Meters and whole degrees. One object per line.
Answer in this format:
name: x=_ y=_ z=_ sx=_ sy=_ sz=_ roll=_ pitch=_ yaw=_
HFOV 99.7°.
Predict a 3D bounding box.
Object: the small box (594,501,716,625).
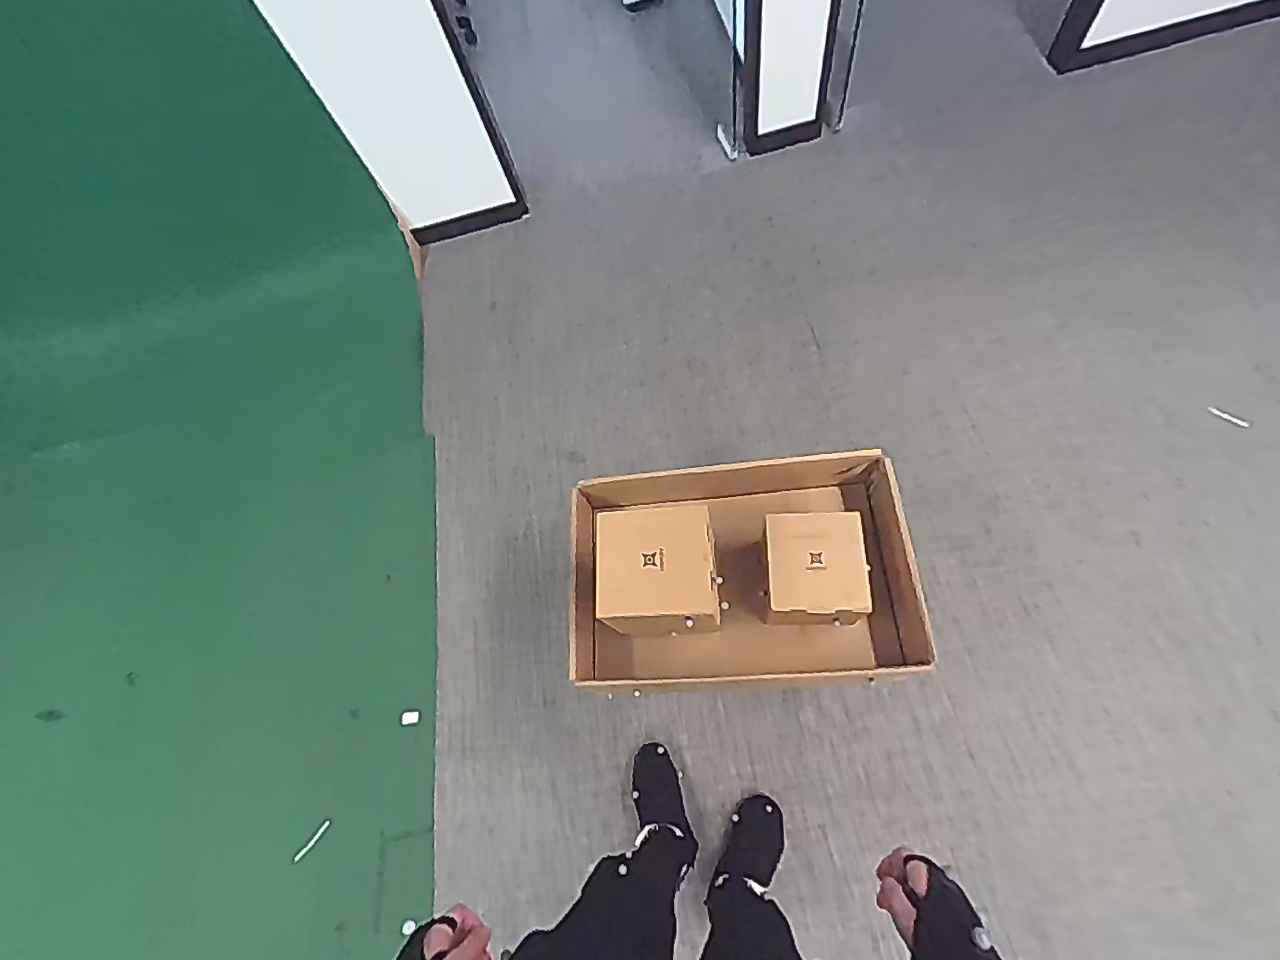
small box: x=0.030 y=0.144 z=0.892 sx=0.179 sy=0.176 sz=0.168 roll=-5 pitch=68 yaw=8
